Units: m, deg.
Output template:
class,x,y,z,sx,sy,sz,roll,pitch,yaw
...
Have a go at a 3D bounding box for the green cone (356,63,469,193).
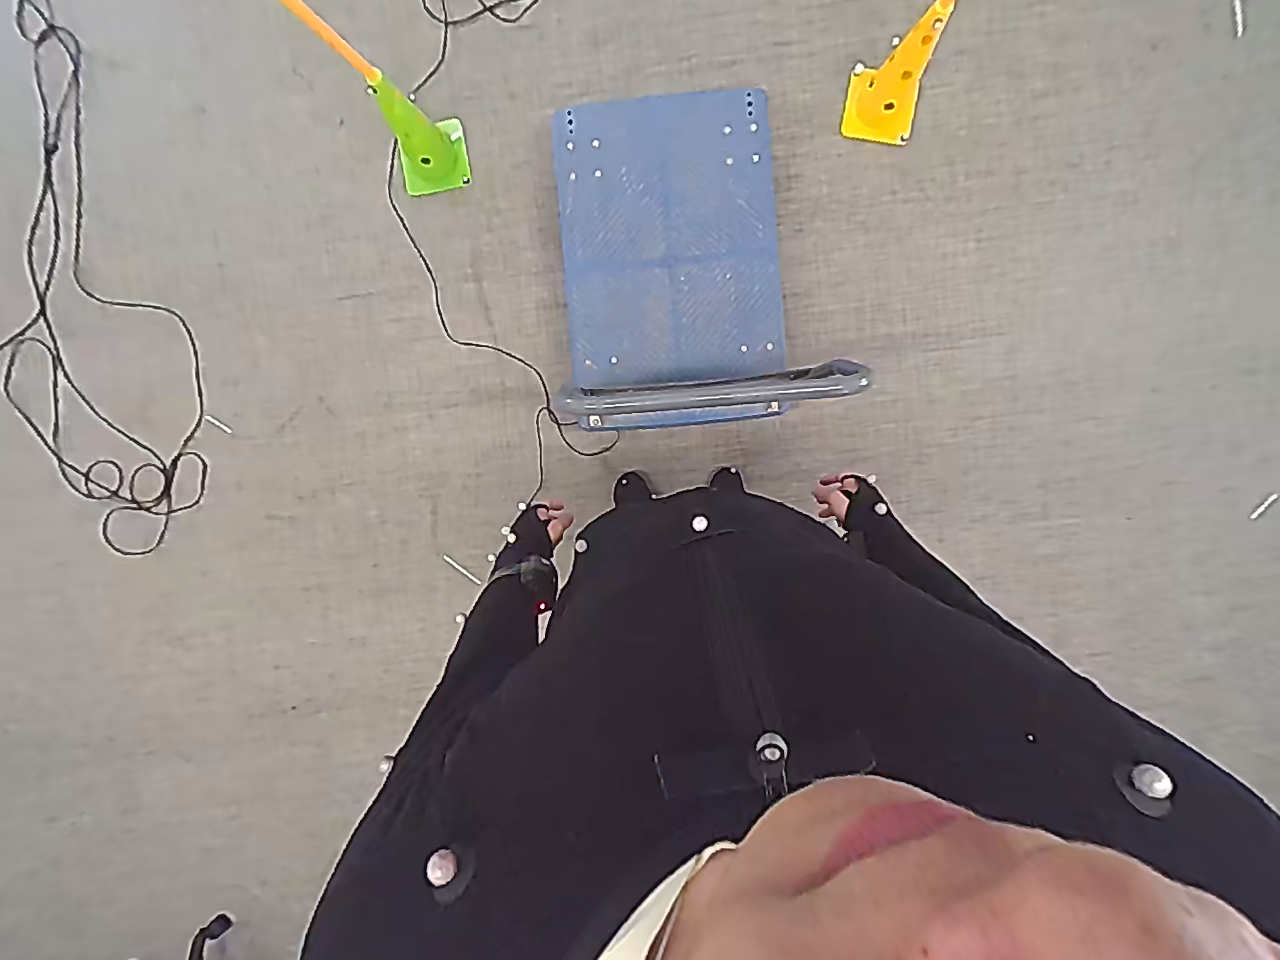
class,x,y,z,sx,sy,sz,roll,pitch,yaw
green cone,-0.629,-0.965,1.437,0.202,0.368,0.200,-11,91,4
